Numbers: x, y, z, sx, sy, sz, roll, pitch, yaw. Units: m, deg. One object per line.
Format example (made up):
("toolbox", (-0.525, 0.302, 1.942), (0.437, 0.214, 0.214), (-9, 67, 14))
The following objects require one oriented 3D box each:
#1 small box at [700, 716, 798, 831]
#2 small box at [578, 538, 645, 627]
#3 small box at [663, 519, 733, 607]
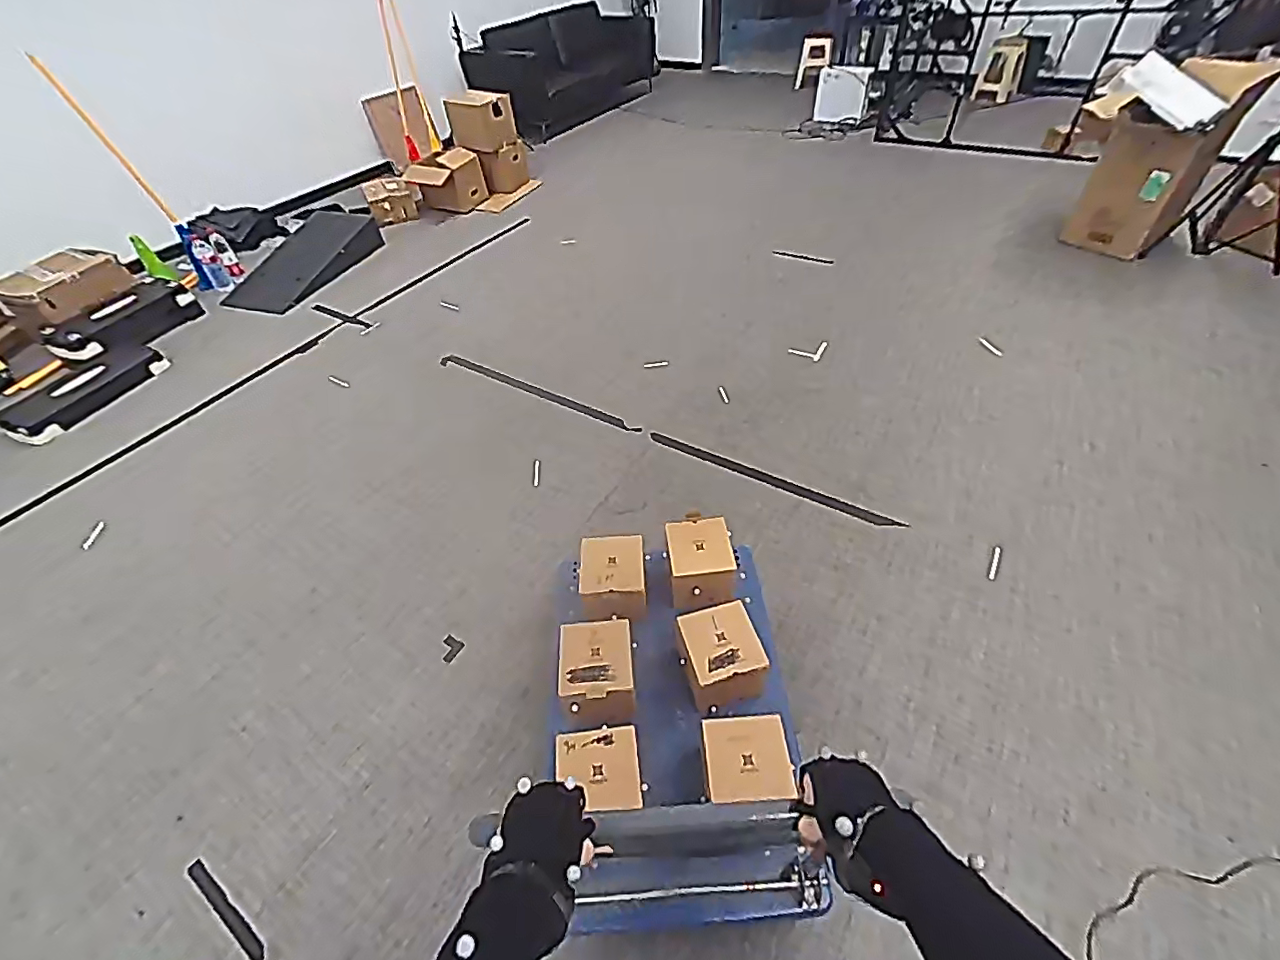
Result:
("small box", (0.218, 0.614, 1.126), (0.168, 0.176, 0.179), (-4, 46, 0))
("small box", (-0.072, 0.278, 1.464), (0.168, 0.176, 0.179), (-3, 47, 1))
("small box", (0.157, 0.234, 1.491), (0.168, 0.176, 0.179), (-7, 46, -2))
